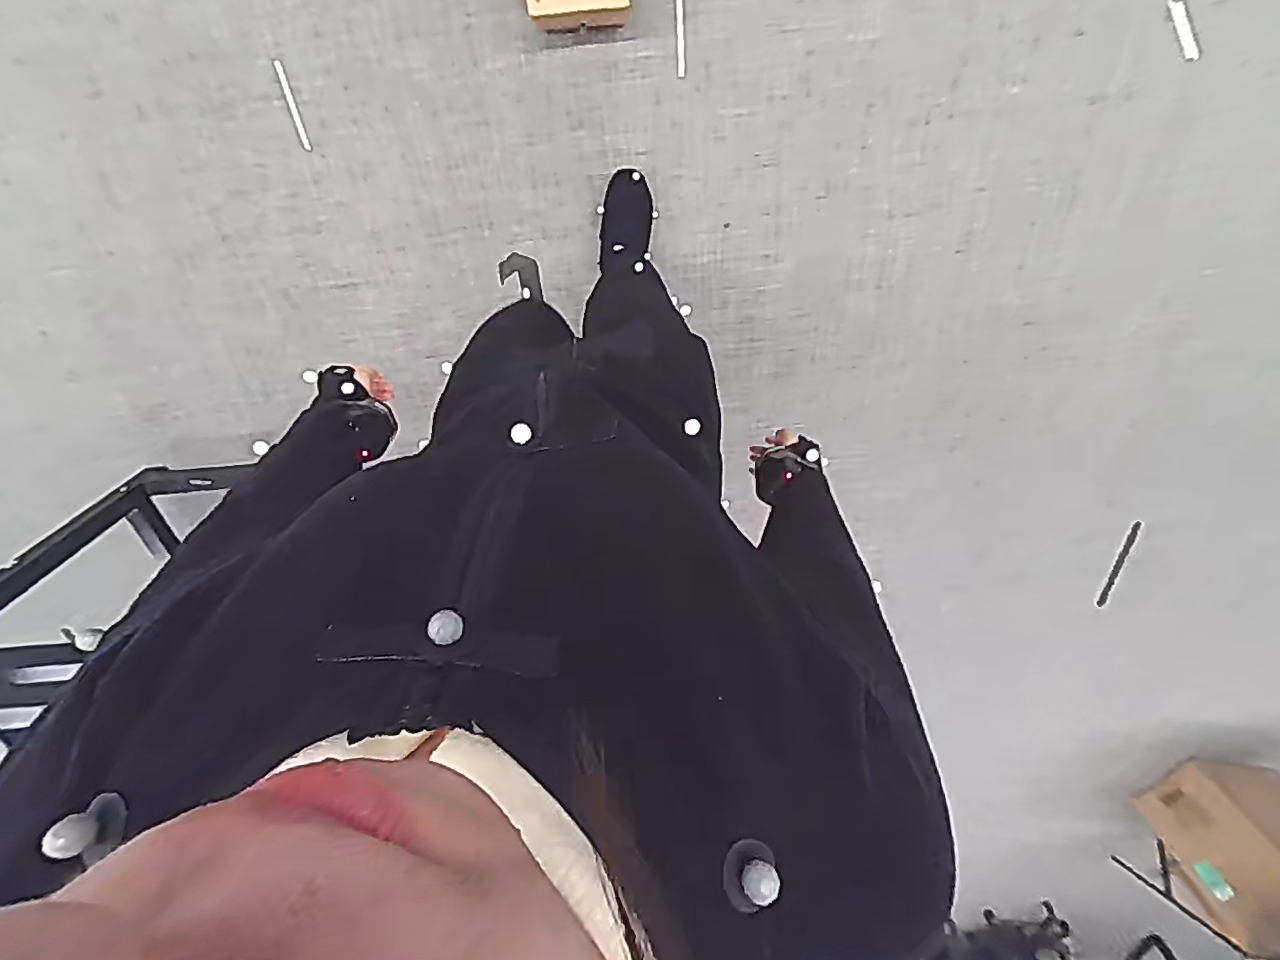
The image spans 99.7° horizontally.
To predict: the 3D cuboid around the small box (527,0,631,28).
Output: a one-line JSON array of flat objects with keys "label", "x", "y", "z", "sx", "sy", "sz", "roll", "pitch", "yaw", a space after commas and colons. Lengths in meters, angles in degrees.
[{"label": "small box", "x": -0.110, "y": -0.899, "z": 0.930, "sx": 0.179, "sy": 0.176, "sz": 0.168, "roll": -5, "pitch": 123, "yaw": 0}]
